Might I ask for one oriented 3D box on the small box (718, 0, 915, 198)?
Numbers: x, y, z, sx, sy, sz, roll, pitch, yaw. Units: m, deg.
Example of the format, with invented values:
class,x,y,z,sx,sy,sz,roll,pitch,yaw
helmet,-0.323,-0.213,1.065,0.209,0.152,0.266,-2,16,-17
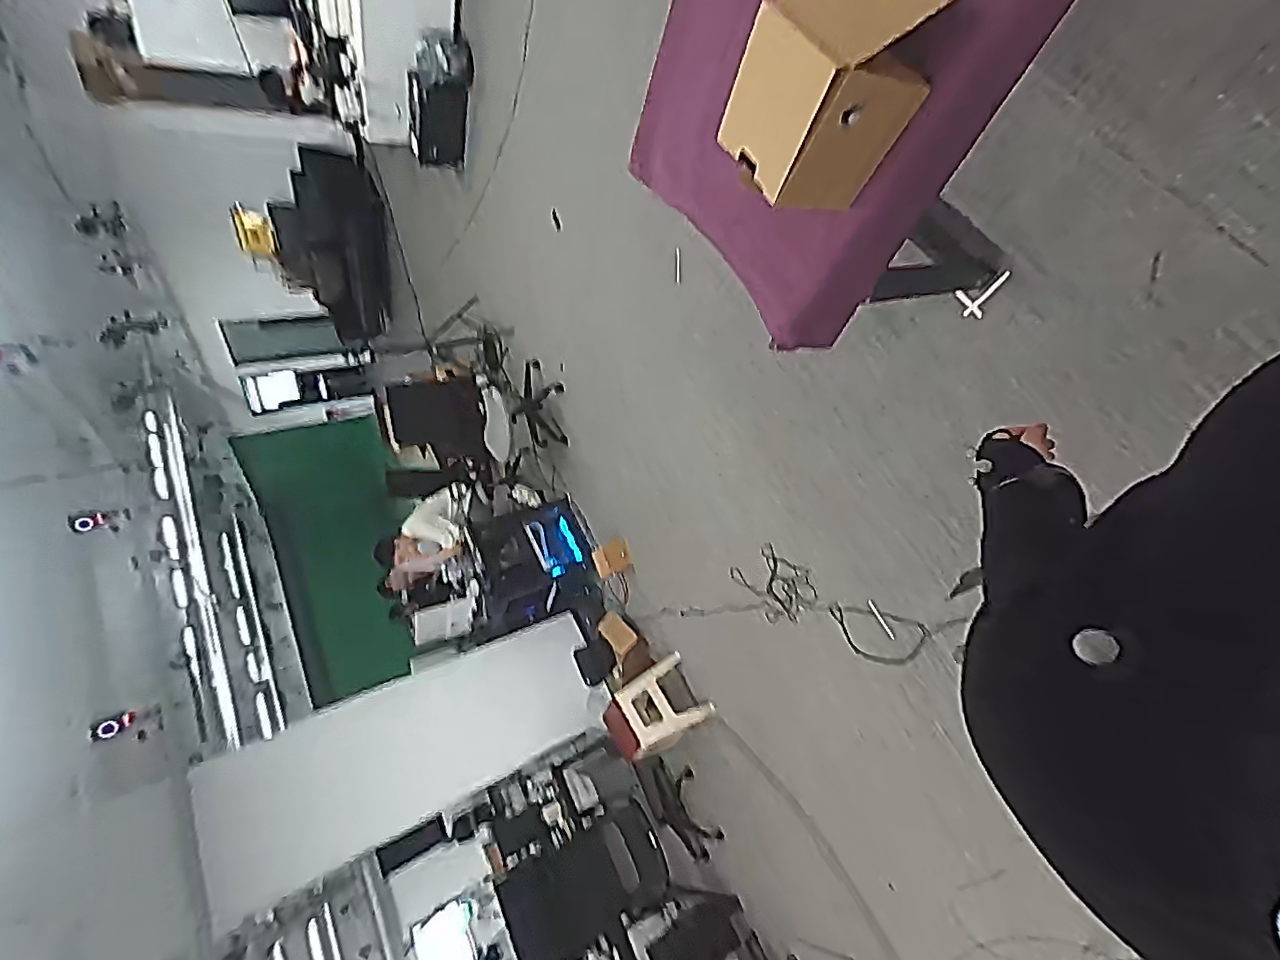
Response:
class,x,y,z,sx,sy,sz,roll,pitch,yaw
small box,0.248,-0.525,0.756,0.168,0.176,0.179,63,148,21
